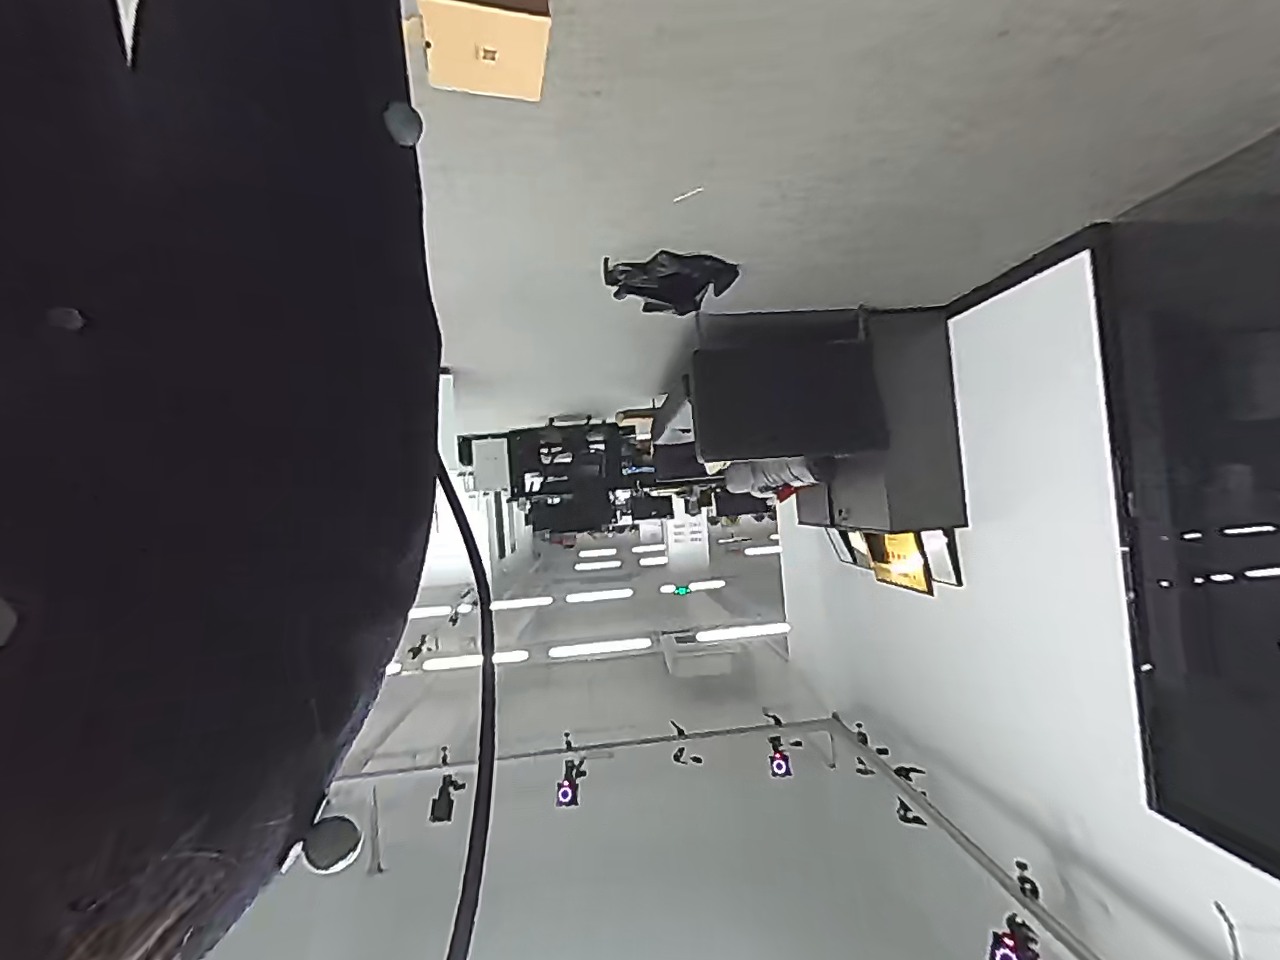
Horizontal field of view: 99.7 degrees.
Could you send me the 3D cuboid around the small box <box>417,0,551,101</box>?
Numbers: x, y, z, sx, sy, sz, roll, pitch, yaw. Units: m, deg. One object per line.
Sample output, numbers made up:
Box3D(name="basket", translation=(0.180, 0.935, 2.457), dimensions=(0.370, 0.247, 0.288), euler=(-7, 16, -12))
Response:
Box3D(name="small box", translation=(-0.233, -0.703, 0.792), dimensions=(0.179, 0.176, 0.168), euler=(-4, 179, -17))
